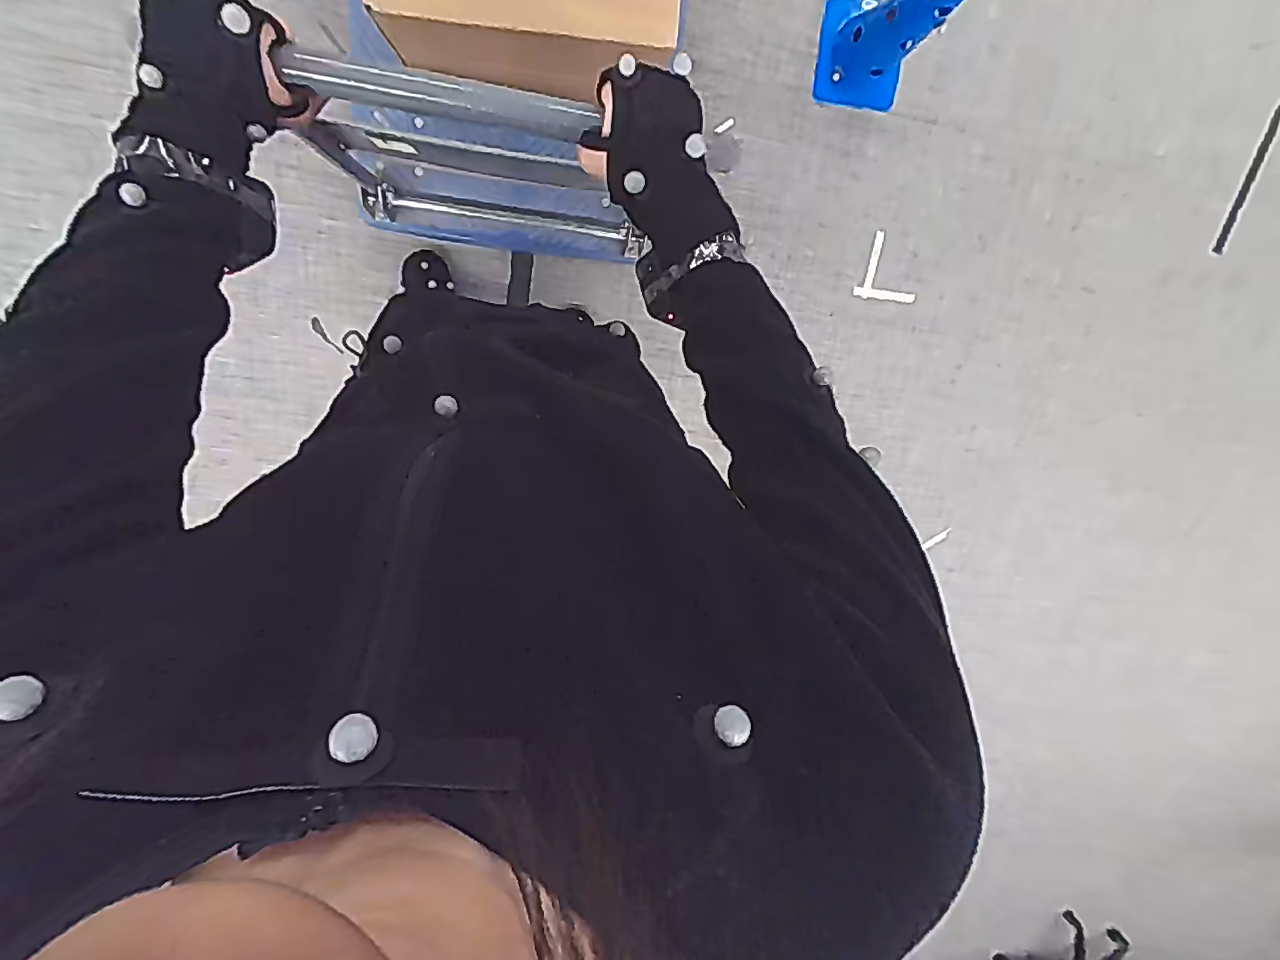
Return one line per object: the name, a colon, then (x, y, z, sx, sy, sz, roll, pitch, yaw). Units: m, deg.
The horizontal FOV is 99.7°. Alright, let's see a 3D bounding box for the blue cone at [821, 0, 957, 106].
blue cone: (0.524, -0.894, 1.047, 0.193, 0.380, 0.192, 2, 109, -10)
